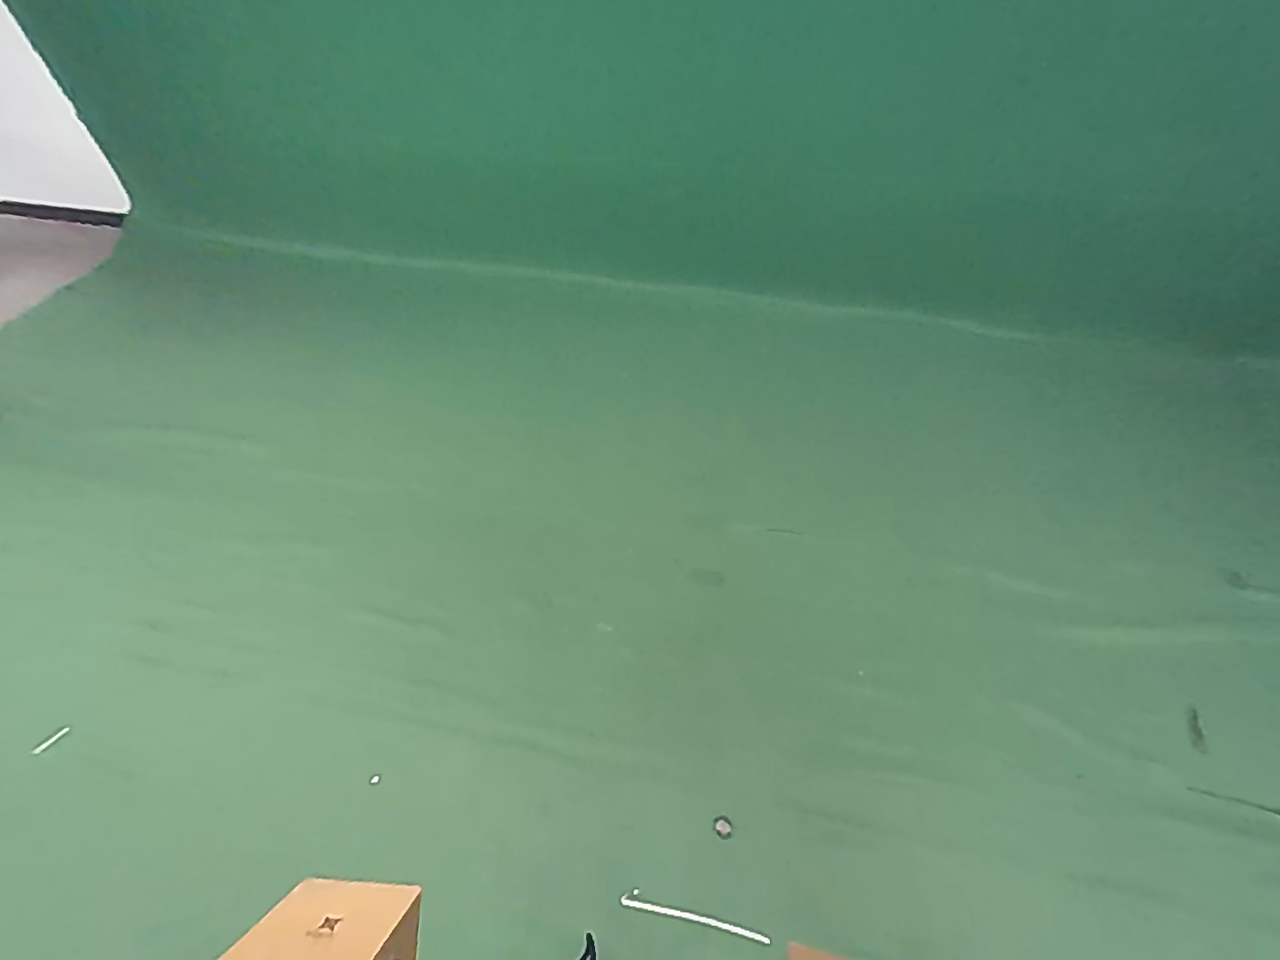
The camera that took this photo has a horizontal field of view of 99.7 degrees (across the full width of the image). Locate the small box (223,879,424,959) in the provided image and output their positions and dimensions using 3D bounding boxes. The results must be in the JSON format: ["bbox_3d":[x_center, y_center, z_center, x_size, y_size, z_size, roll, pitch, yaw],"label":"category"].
[{"bbox_3d":[-0.385,0.627,0.650,0.168,0.179,0.176,3,83,2],"label":"small box"}]
